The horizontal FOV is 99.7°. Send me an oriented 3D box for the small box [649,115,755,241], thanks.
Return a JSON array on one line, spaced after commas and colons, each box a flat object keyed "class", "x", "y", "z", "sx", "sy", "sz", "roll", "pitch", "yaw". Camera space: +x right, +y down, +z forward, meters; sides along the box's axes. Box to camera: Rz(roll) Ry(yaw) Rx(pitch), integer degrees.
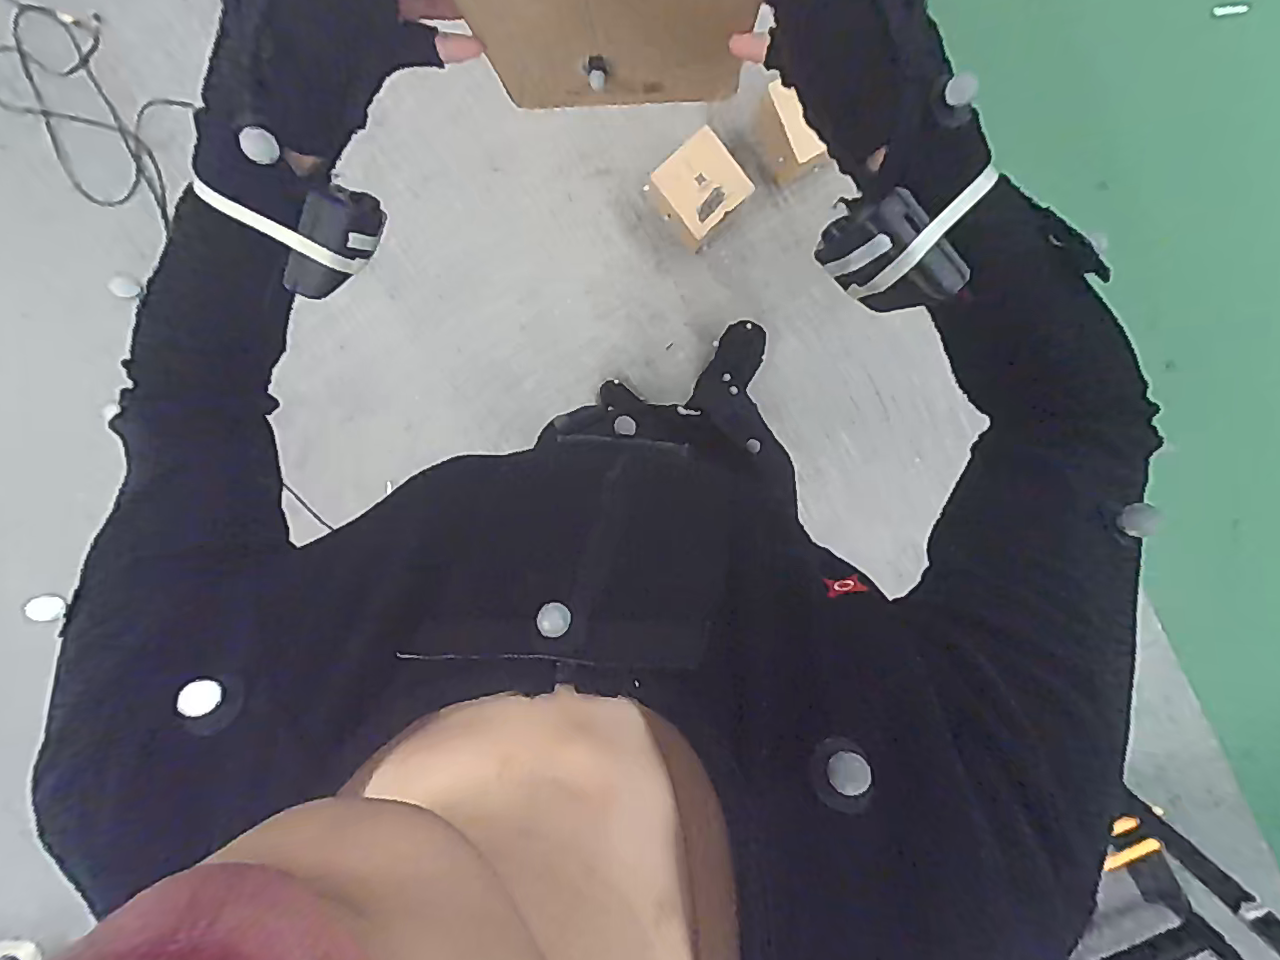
[{"class": "small box", "x": 0.137, "y": -0.678, "z": 1.247, "sx": 0.168, "sy": 0.176, "sz": 0.179, "roll": -40, "pitch": 98, "yaw": 8}]
